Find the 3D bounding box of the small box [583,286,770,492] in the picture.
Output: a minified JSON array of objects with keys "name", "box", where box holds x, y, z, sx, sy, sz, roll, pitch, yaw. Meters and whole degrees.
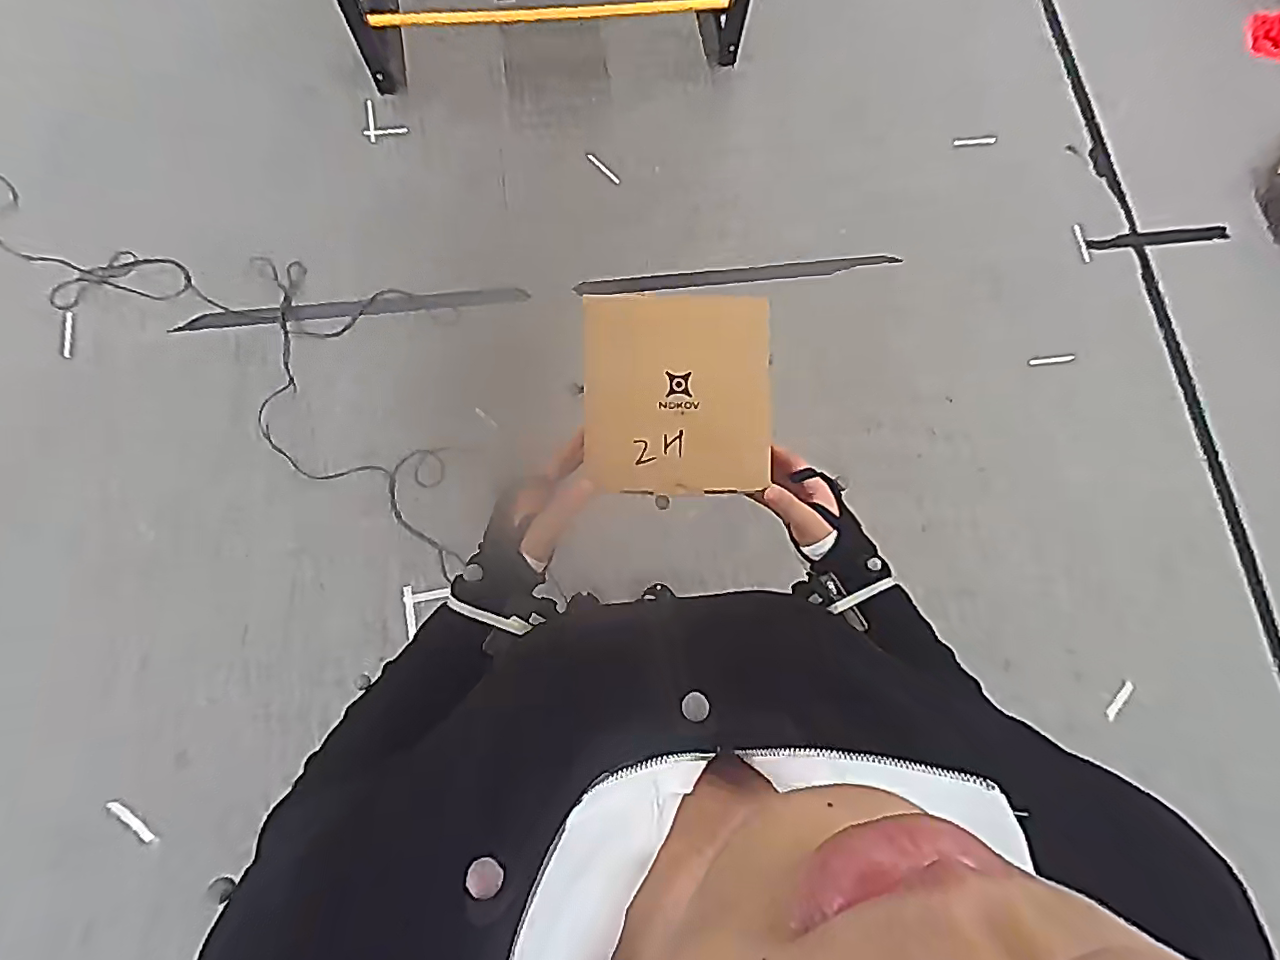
[{"name":"small box","box":[0.026,-0.078,0.551,0.168,0.176,0.179,0,88,-4]}]
